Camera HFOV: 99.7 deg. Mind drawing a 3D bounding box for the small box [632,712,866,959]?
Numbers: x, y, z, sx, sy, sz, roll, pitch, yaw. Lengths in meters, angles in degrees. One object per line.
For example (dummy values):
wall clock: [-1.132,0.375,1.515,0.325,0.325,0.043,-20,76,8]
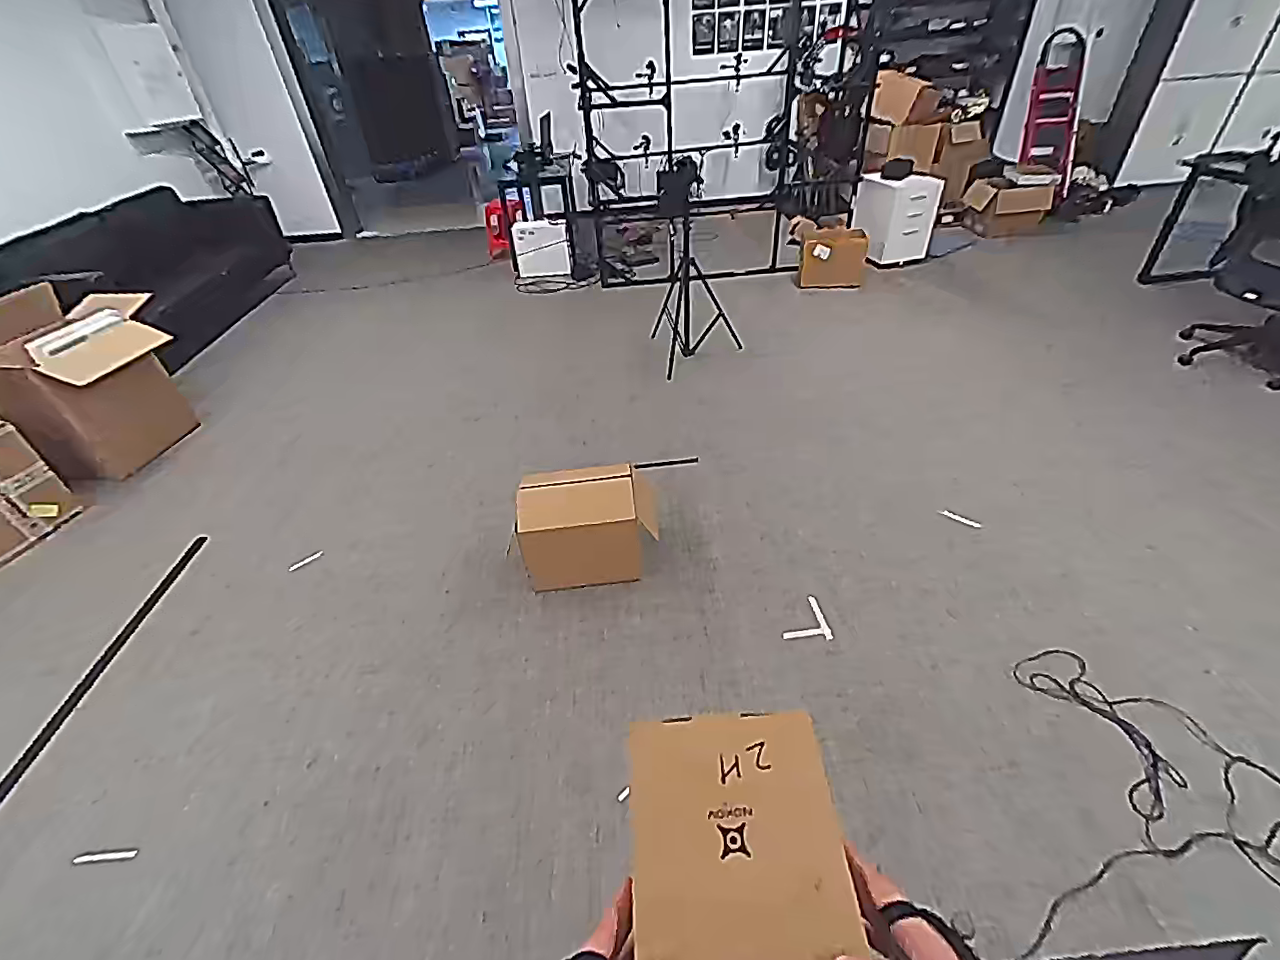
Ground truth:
small box: [0.080,0.335,0.493,0.168,0.176,0.179,-3,45,0]
